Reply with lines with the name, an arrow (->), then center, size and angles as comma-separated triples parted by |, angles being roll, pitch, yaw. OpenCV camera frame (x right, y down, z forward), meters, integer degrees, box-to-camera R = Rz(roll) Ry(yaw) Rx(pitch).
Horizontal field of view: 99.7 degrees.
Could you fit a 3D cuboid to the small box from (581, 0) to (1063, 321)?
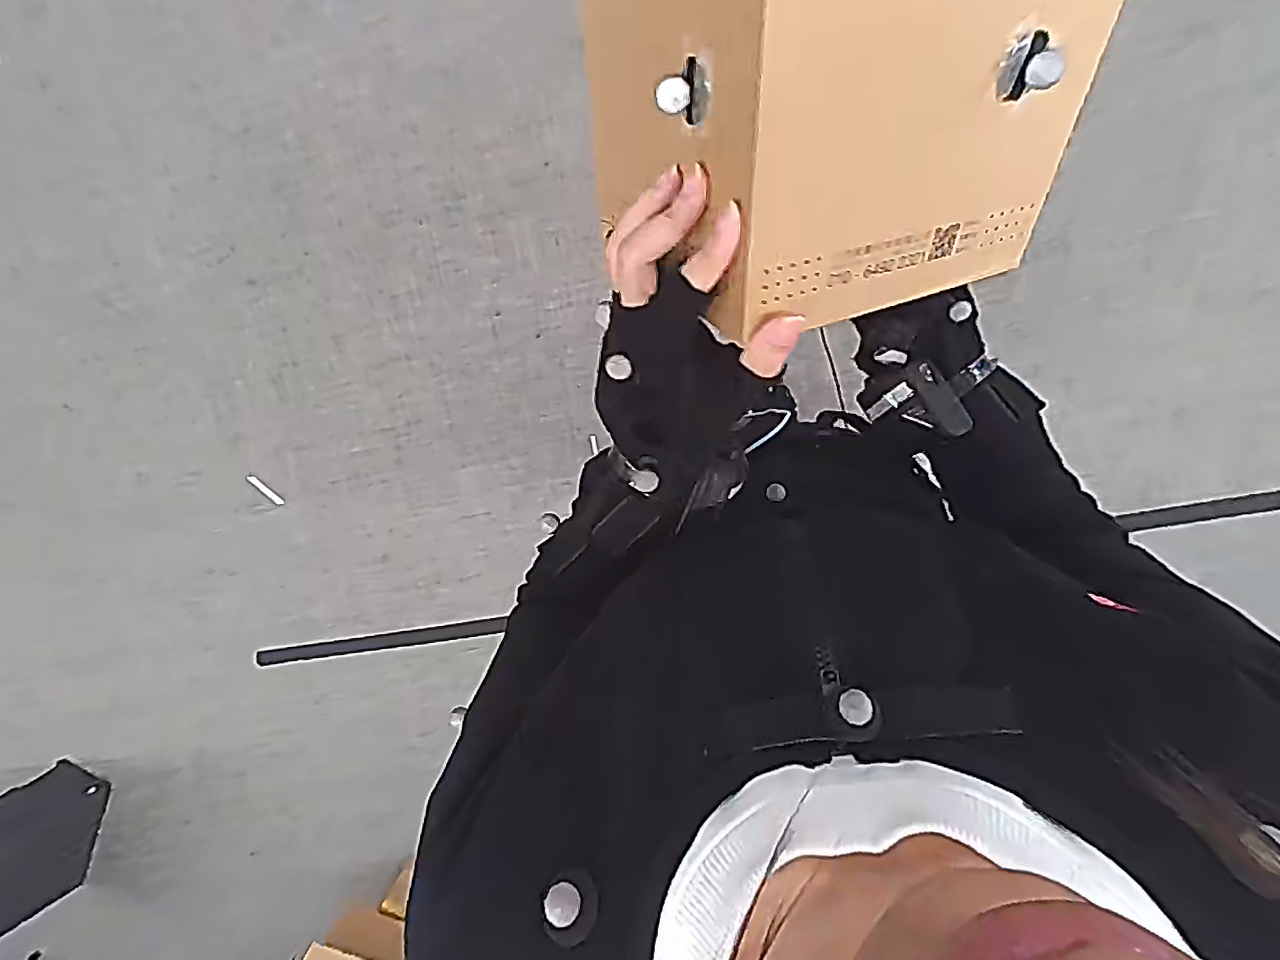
small box -> 0.080, -0.198, 0.283 | 0.168, 0.179, 0.176 | -19, 133, -16
